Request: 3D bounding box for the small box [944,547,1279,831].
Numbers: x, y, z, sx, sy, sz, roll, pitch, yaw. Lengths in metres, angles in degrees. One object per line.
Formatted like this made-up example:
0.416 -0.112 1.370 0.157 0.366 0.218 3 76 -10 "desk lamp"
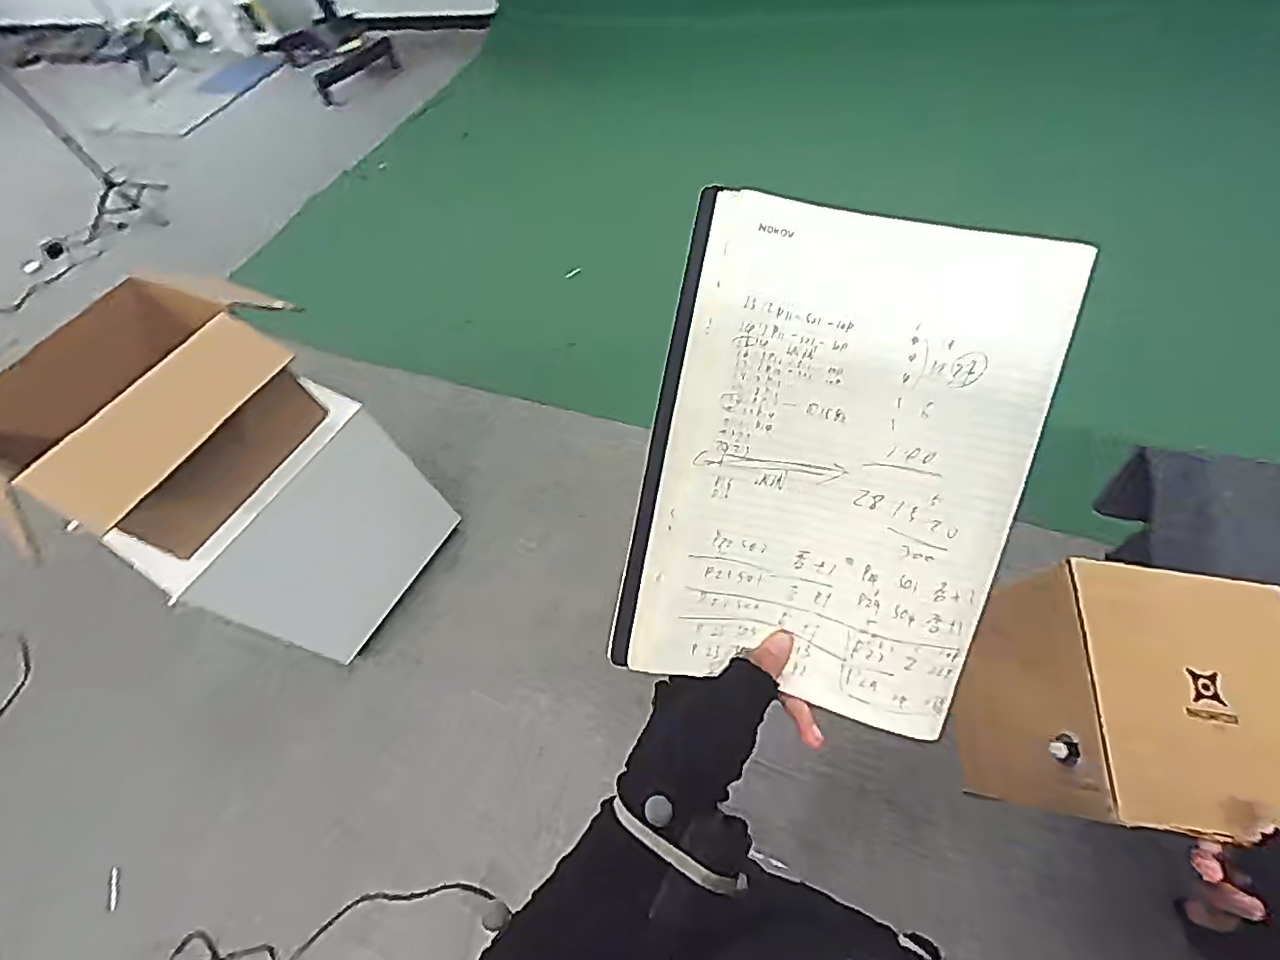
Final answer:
0.380 0.172 0.447 0.168 0.176 0.179 8 66 -1 "small box"
